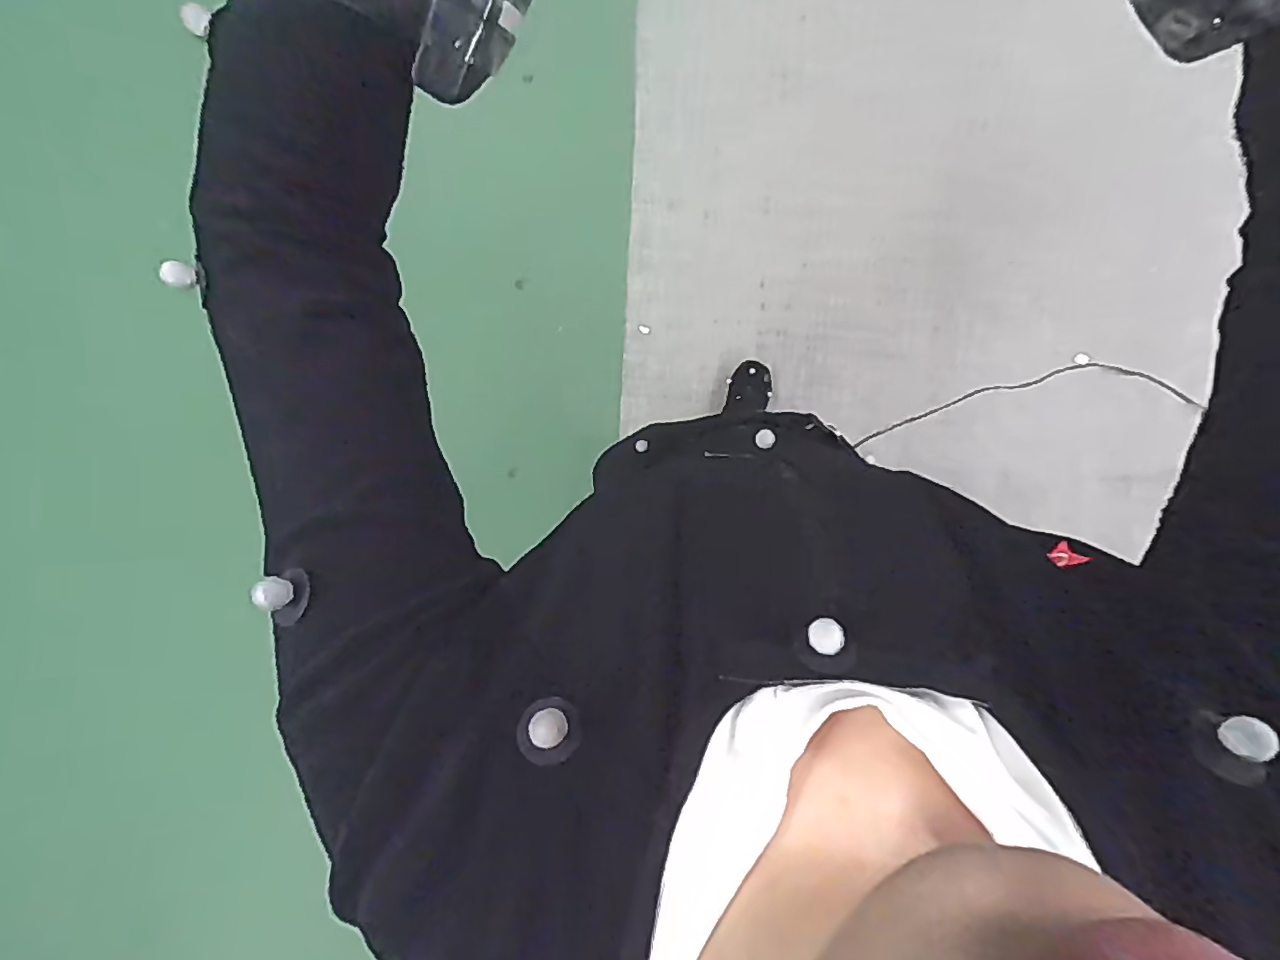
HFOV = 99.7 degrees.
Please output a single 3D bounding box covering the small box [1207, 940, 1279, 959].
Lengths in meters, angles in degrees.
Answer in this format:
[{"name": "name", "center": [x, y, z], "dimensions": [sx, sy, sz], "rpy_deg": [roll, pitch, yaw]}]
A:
[{"name": "small box", "center": [0.896, 0.745, 0.699], "dimensions": [0.179, 0.176, 0.168], "rpy_deg": [-1, 96, 3]}]
